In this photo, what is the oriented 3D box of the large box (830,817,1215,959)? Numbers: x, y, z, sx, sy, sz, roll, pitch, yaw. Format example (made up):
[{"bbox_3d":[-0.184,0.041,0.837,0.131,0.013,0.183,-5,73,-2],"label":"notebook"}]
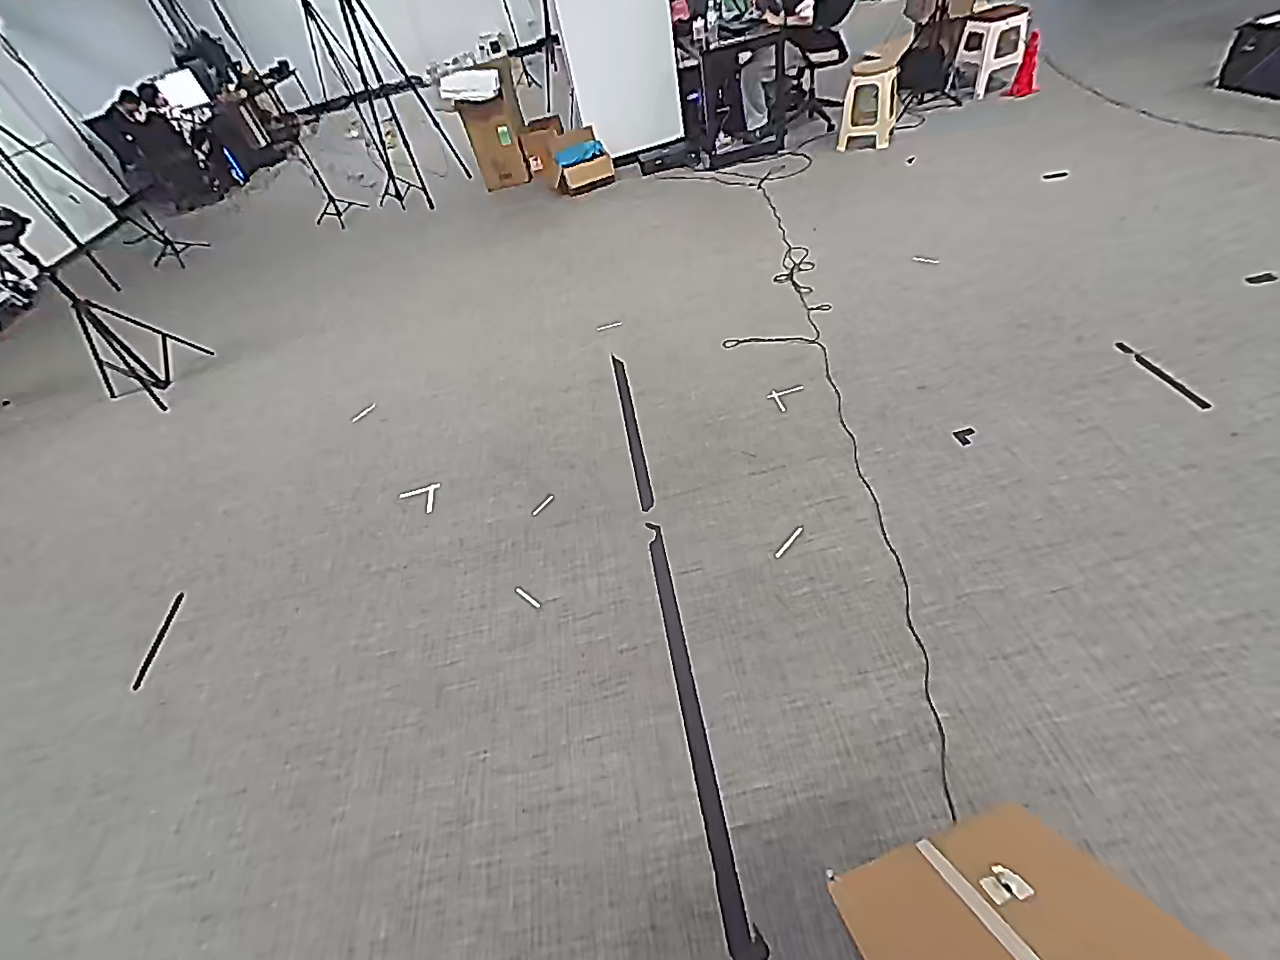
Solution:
[{"bbox_3d":[0.480,0.679,0.602,0.320,0.408,0.320,-20,83,-2],"label":"large box"}]
